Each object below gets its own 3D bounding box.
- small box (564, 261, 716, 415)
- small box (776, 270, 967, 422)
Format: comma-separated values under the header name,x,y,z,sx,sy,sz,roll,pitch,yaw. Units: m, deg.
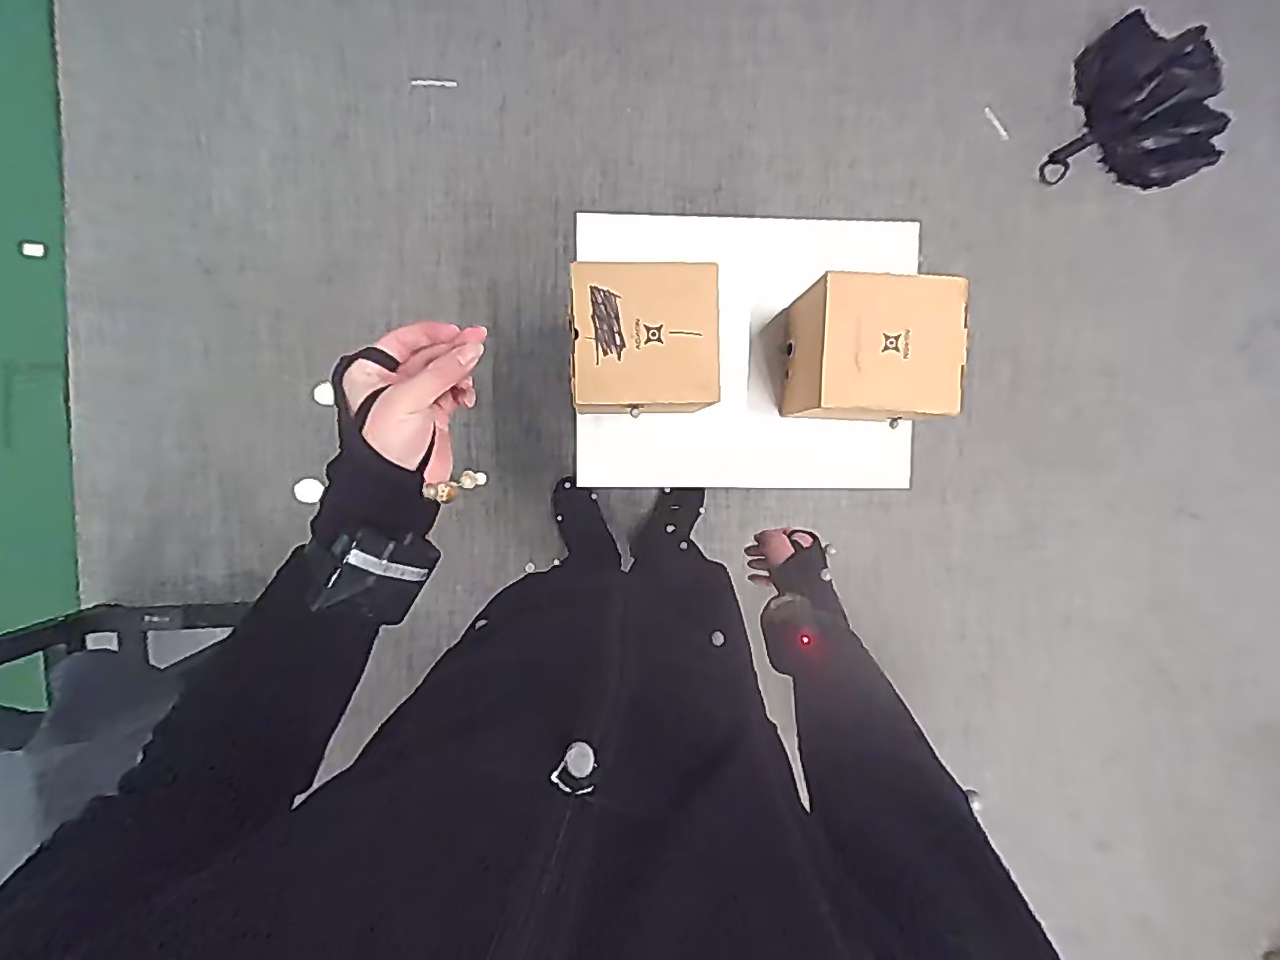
name,x,y,z,sx,sy,sz,roll,pitch,yaw
small box,-0.003,-0.173,0.704,0.179,0.176,0.168,-2,93,-5
small box,0.295,-0.167,0.721,0.179,0.176,0.168,2,92,-1
